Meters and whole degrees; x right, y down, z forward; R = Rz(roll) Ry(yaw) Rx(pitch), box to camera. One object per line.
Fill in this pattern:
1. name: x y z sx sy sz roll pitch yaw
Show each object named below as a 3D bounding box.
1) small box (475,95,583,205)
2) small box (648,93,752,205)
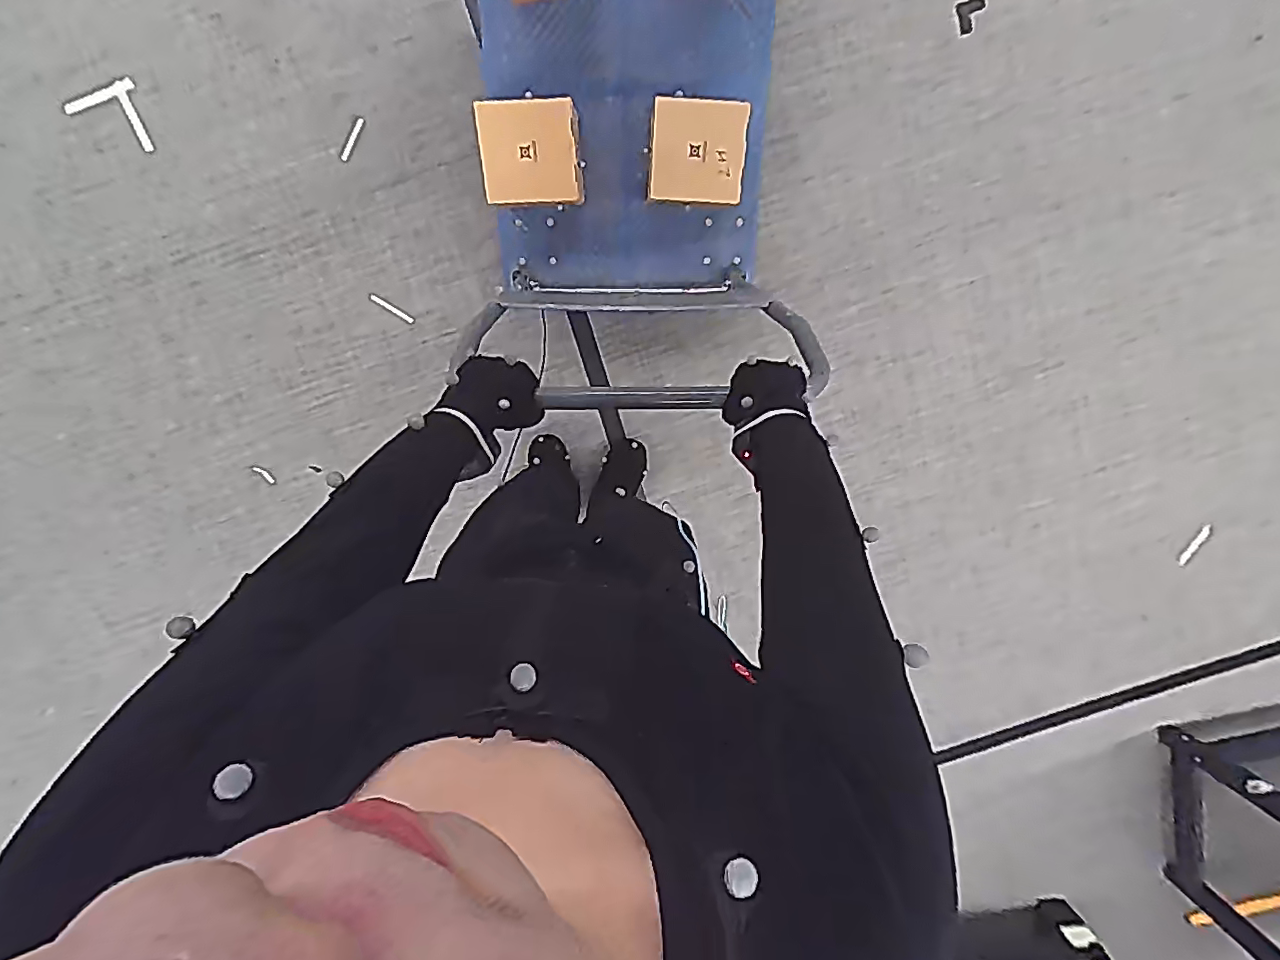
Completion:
1. small box: -0.208 -0.639 1.063 0.179 0.176 0.168 -3 115 -2
2. small box: 0.108 -0.643 1.070 0.179 0.176 0.168 2 116 -3
